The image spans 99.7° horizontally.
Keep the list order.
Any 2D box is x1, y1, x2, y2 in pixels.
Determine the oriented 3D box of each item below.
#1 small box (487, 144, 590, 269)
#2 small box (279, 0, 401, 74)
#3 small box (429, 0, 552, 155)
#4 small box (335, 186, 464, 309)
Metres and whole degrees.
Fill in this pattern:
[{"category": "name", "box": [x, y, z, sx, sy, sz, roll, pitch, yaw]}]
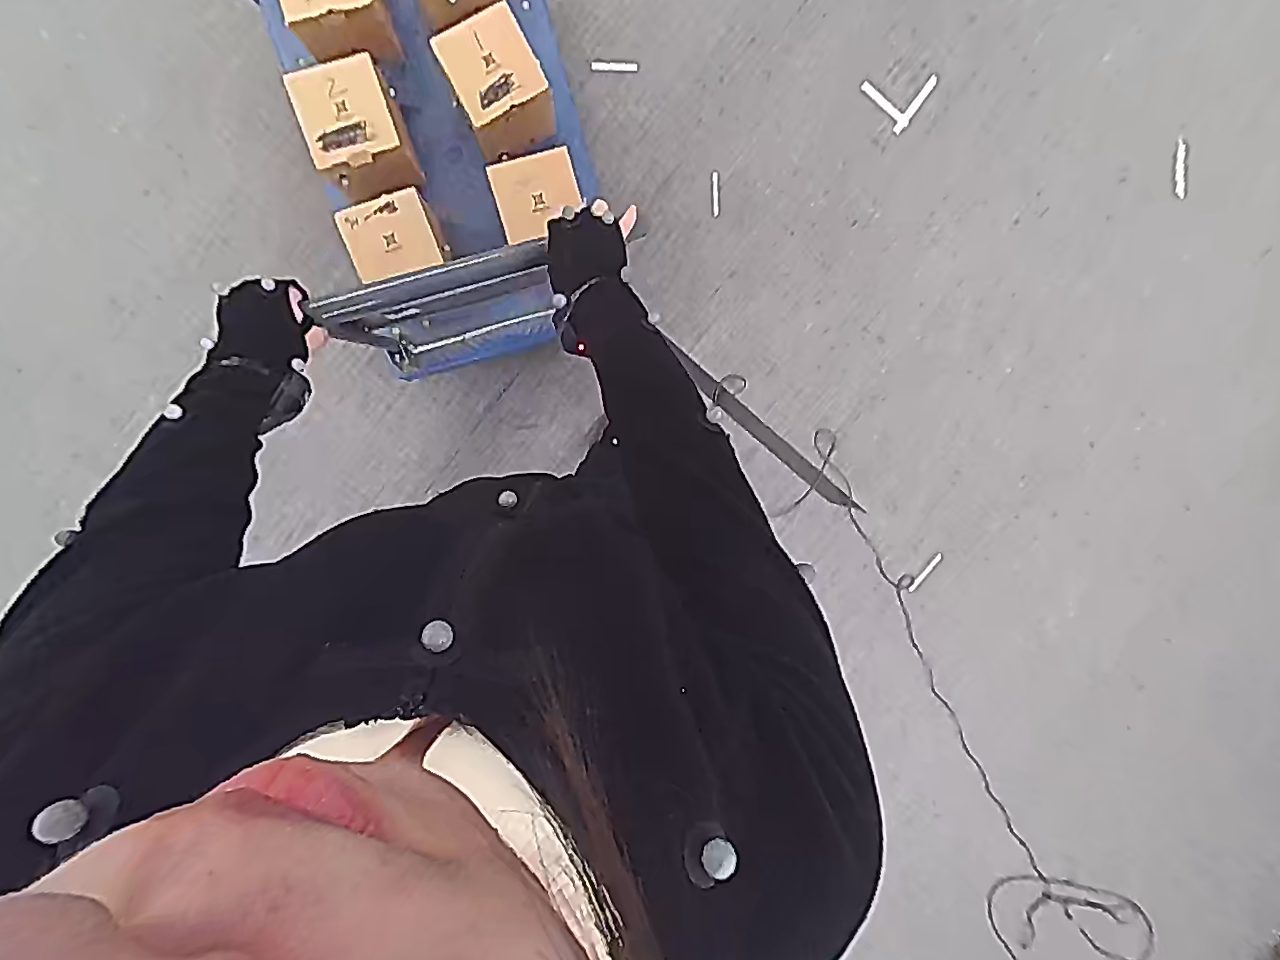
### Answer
[{"category": "small box", "box": [-0.205, -0.564, 1.145, 0.168, 0.176, 0.179, -17, 98, -4]}, {"category": "small box", "box": [-0.598, -0.951, 1.060, 0.168, 0.176, 0.179, -16, 99, -3]}, {"category": "small box", "box": [-0.293, -0.804, 1.107, 0.168, 0.176, 0.179, -30, 98, -1]}, {"category": "small box", "box": [-0.487, -0.469, 1.128, 0.168, 0.176, 0.179, -21, 99, -4]}]
